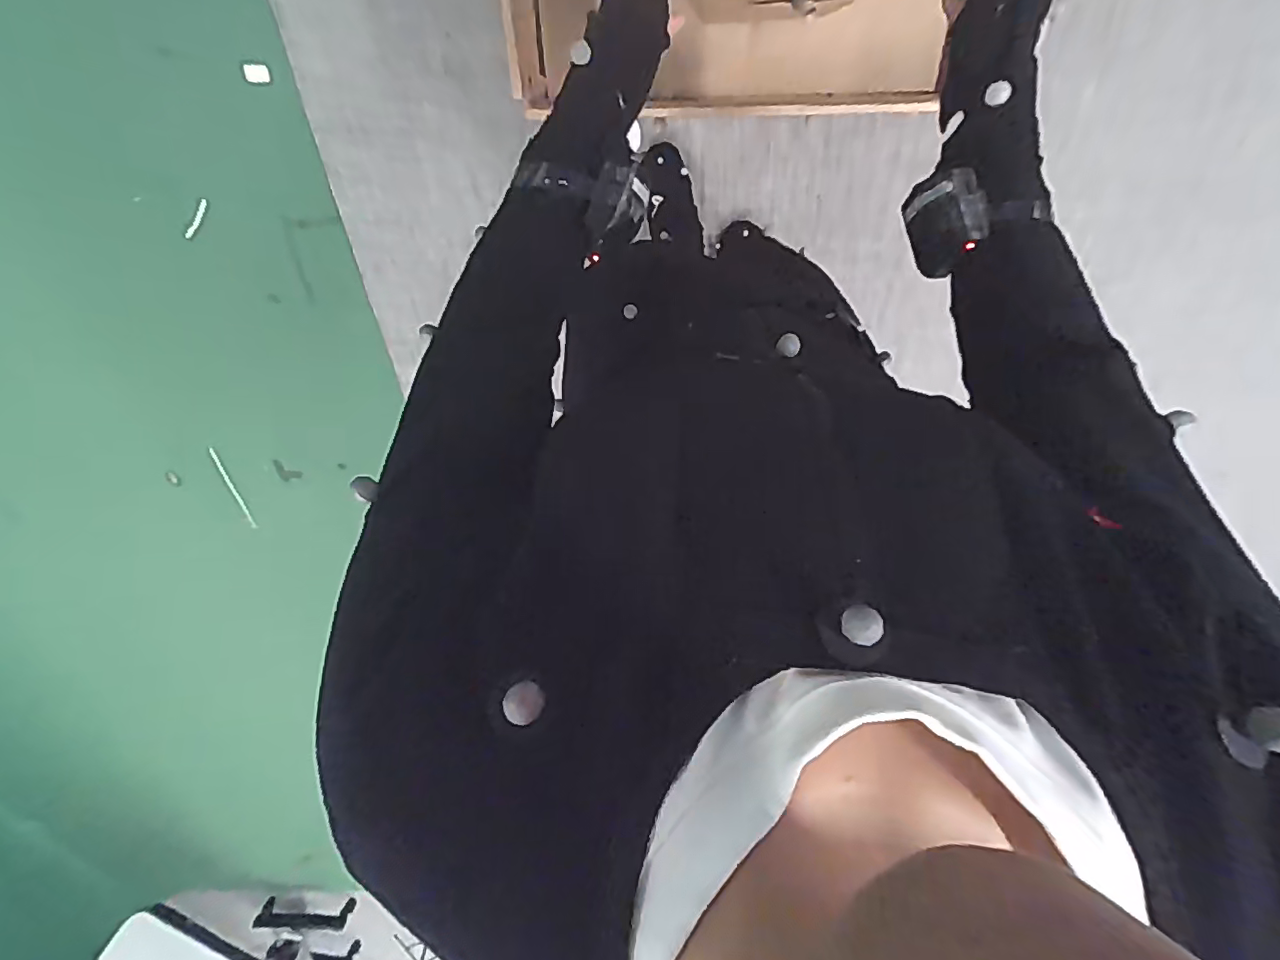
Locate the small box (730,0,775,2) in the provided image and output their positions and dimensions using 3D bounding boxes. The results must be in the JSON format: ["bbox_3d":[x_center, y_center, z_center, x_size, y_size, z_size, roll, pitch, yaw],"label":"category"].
[{"bbox_3d":[0.153,-0.540,0.471,0.168,0.176,0.179,-2,126,2],"label":"small box"}]

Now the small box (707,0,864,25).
[{"bbox_3d":[0.164,-0.633,0.606,0.168,0.176,0.179,-2,124,2],"label":"small box"}]
